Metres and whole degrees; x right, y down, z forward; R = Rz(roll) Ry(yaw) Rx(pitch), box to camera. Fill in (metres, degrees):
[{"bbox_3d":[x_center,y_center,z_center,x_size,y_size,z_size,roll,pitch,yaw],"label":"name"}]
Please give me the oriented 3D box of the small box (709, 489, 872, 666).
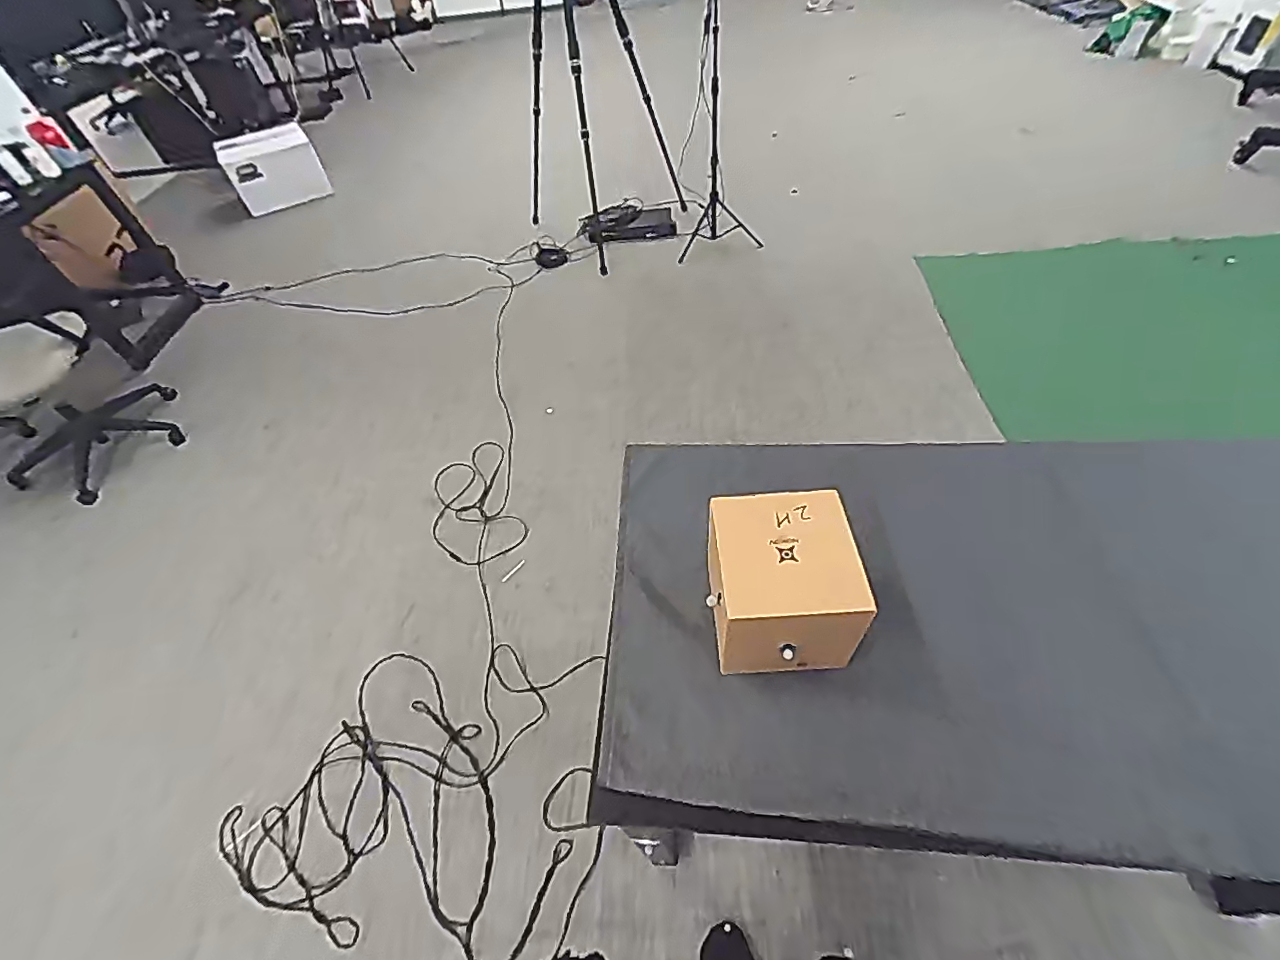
[{"bbox_3d":[0.181,0.134,0.711,0.168,0.176,0.179,-4,49,2],"label":"small box"}]
